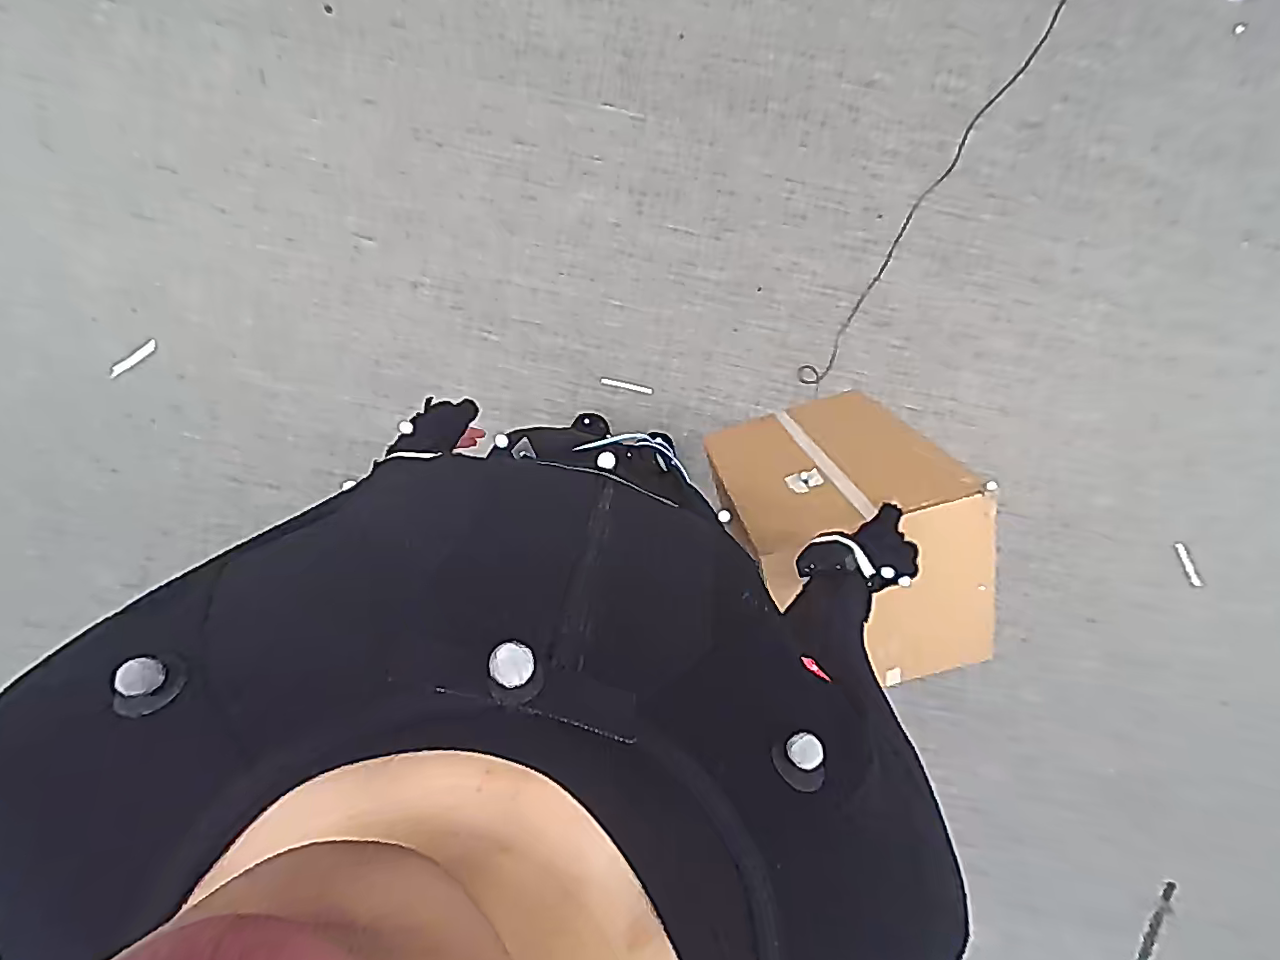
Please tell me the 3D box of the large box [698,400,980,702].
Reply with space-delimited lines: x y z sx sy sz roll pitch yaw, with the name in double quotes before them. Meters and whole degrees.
"large box" 0.318 0.101 0.956 0.320 0.408 0.320 -17 118 3
